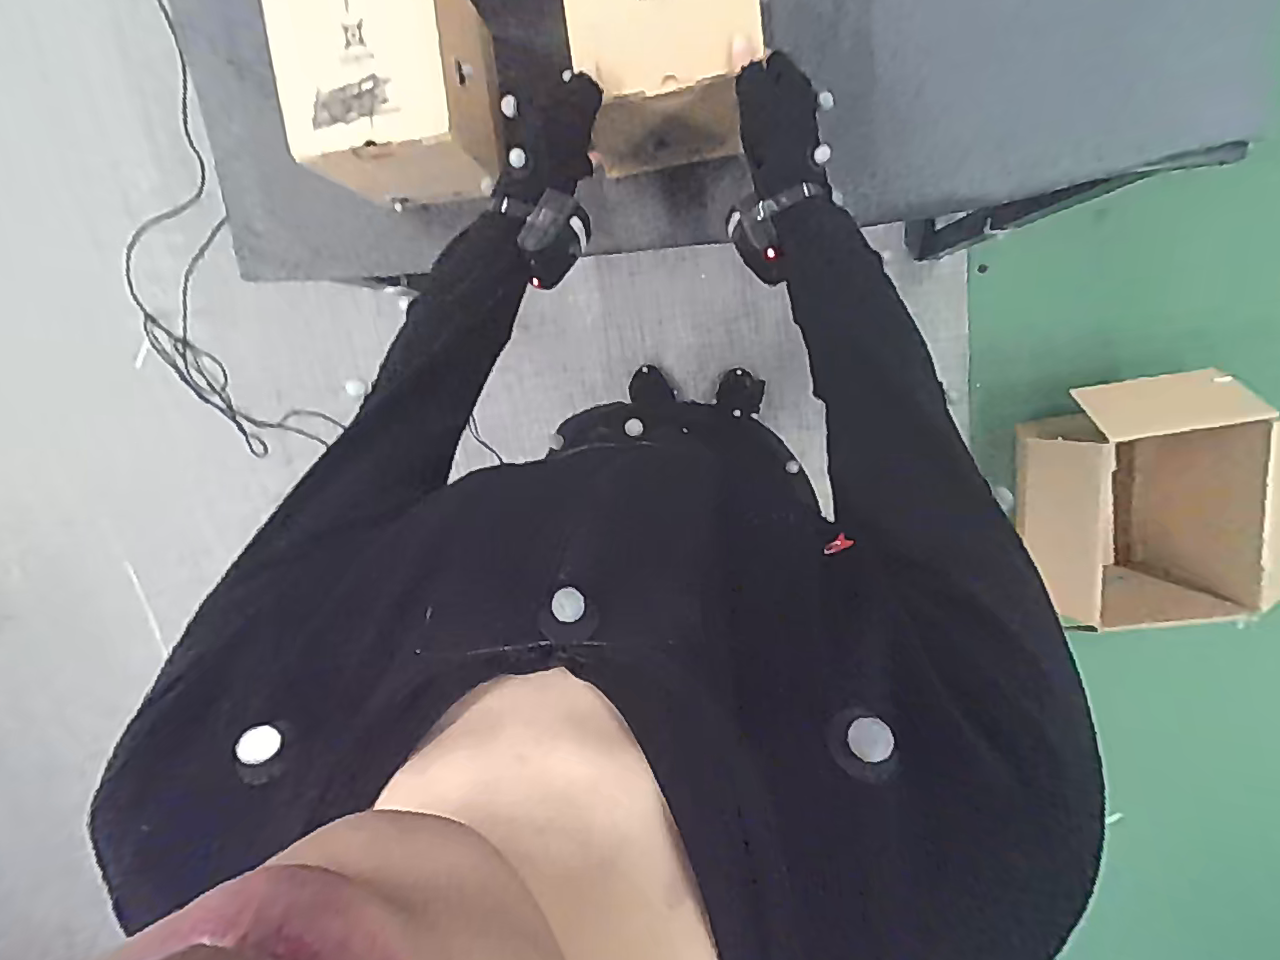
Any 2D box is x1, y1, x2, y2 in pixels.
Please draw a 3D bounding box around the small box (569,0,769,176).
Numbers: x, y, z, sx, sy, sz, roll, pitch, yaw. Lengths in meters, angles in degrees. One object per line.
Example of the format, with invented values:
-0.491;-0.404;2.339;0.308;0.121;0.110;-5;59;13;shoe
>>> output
0.025;-0.433;0.531;0.168;0.176;0.179;-8;100;7;small box
